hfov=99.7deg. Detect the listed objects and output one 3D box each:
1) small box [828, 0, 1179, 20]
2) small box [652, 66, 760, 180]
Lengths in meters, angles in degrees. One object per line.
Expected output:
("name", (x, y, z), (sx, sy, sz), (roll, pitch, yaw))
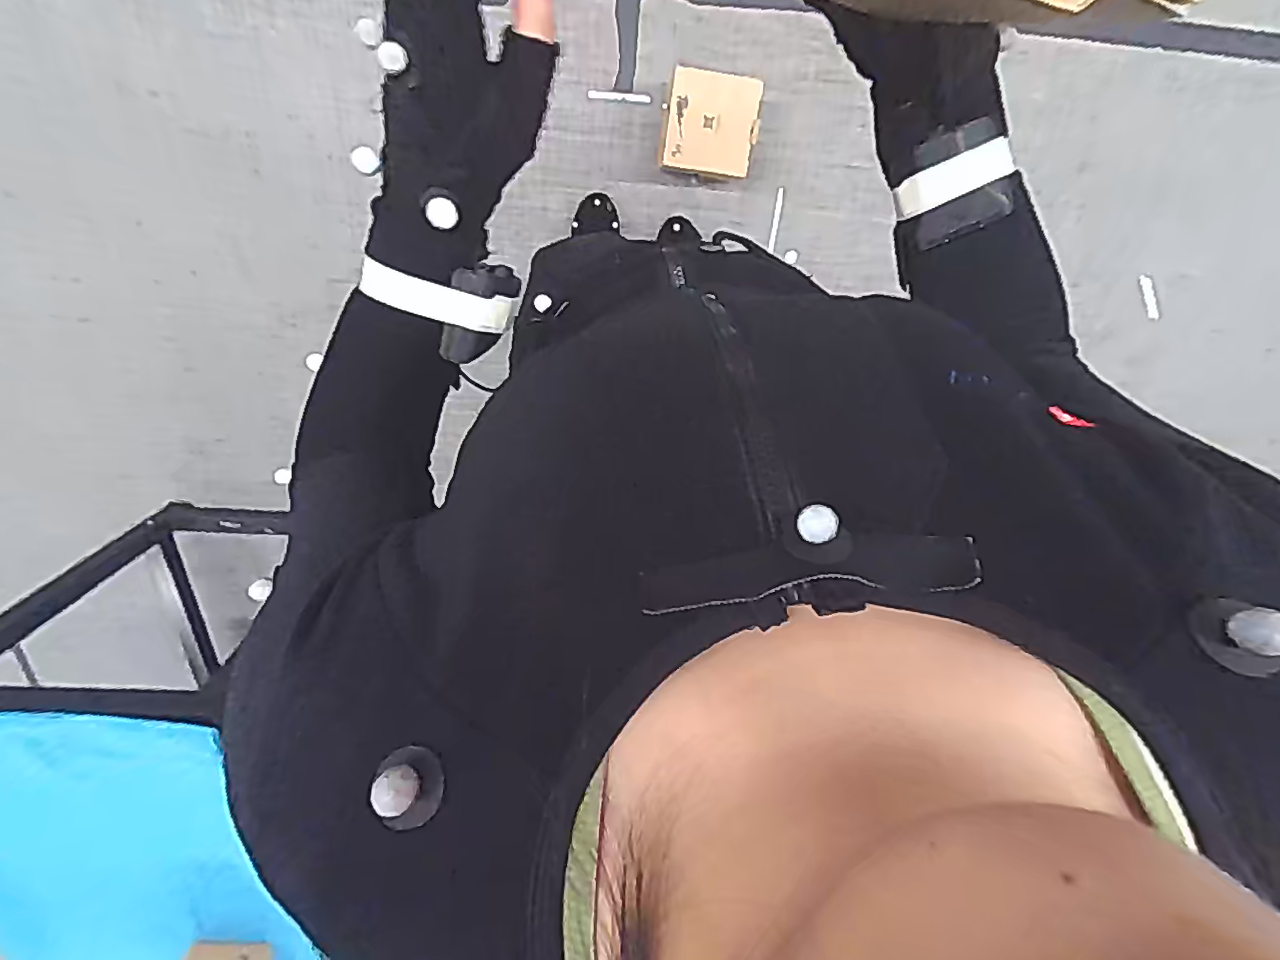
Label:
("small box", (0.118, -0.291, 0.190), (0.168, 0.179, 0.176), (-6, 129, -24))
("small box", (0.130, -0.737, 1.136), (0.179, 0.176, 0.168), (6, 116, -8))
